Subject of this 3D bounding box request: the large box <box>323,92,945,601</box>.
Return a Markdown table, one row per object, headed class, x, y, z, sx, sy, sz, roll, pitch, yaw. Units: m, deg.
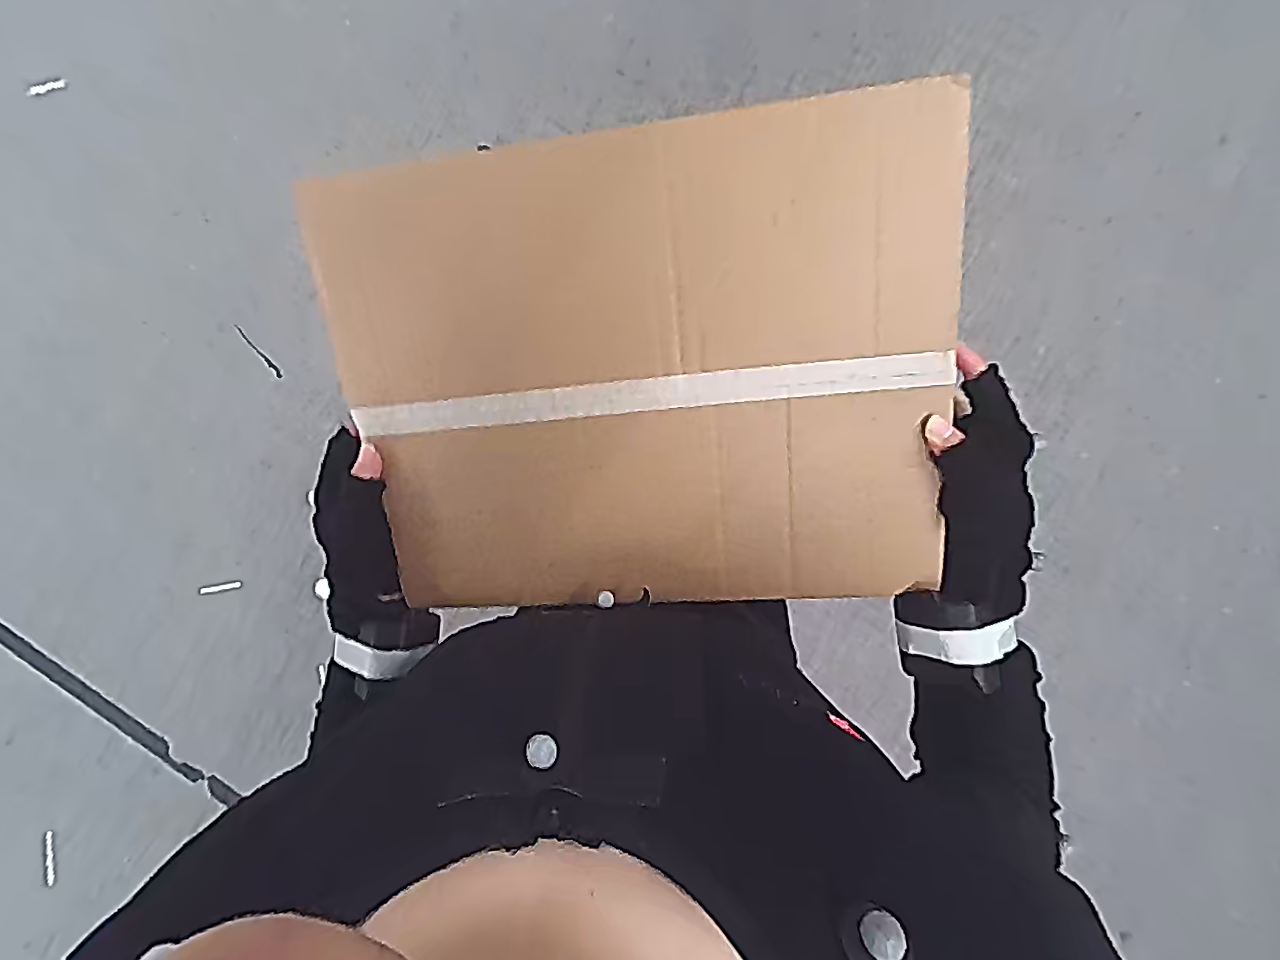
| class | x | y | z | sx | sy | sz | roll | pitch | yaw |
| --- | --- | --- | --- | --- | --- | --- | --- | --- | --- |
| large box | 0.012 | -0.105 | 0.520 | 0.408 | 0.320 | 0.320 | -4 | 109 | 9 |
